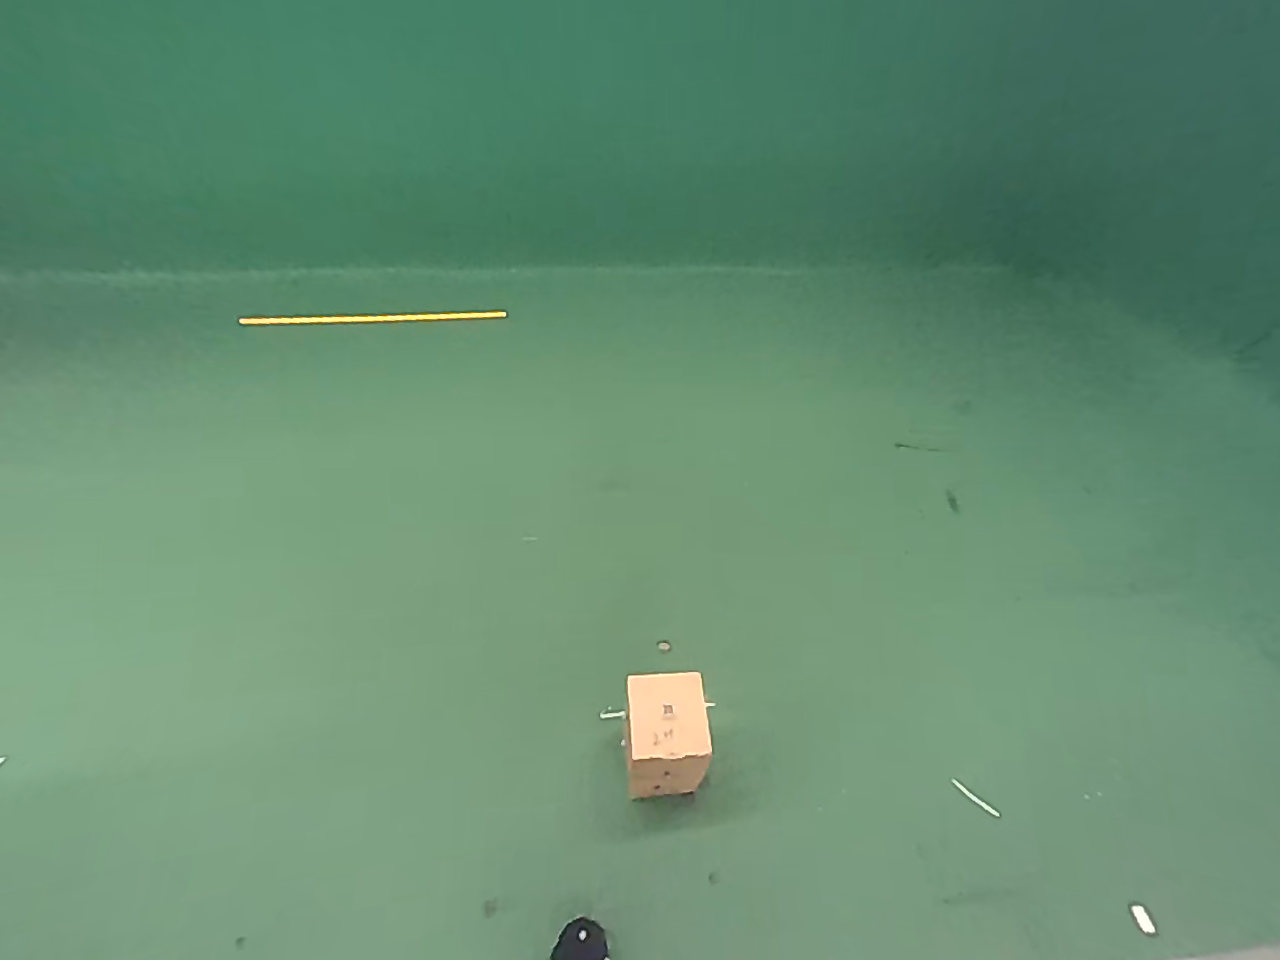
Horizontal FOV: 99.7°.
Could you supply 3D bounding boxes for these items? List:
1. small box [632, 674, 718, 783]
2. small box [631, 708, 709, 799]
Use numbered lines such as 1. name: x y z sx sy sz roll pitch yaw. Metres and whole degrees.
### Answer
1. small box: 0.069 0.554 1.205 0.168 0.176 0.179 -3 48 -4
2. small box: 0.068 0.666 1.327 0.168 0.176 0.179 -4 47 -6
